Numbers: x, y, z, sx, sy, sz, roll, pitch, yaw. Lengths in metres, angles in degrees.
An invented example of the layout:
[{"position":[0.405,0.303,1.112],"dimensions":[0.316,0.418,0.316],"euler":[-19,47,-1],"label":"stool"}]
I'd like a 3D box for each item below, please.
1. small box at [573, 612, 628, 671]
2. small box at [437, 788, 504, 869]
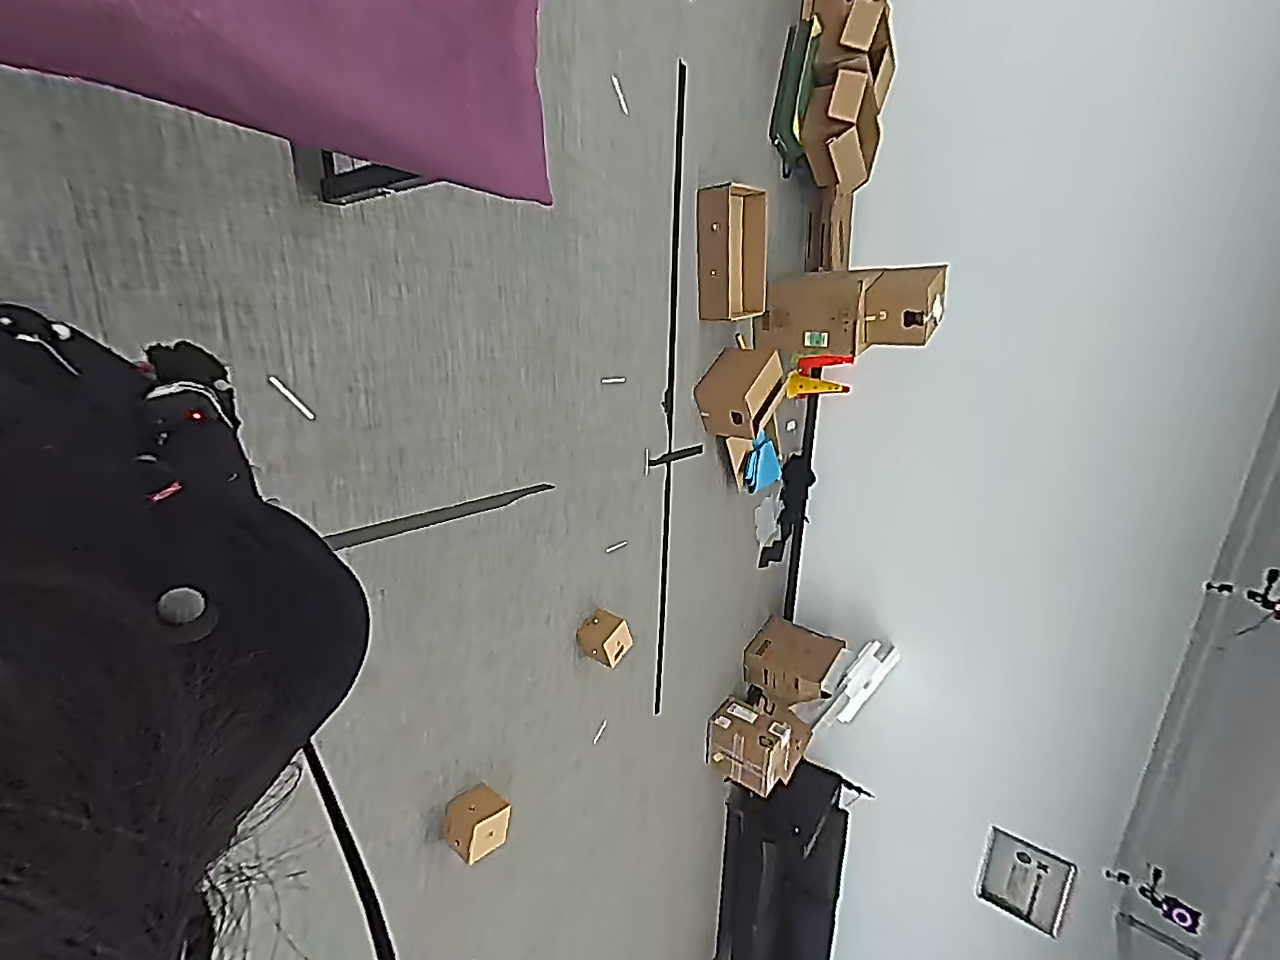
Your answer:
[{"position":[-0.187,0.749,2.531],"dimensions":[0.168,0.176,0.179],"euler":[-44,132,-38],"label":"small box"},{"position":[-0.655,1.334,2.084],"dimensions":[0.179,0.176,0.168],"euler":[2,100,-55],"label":"small box"}]
